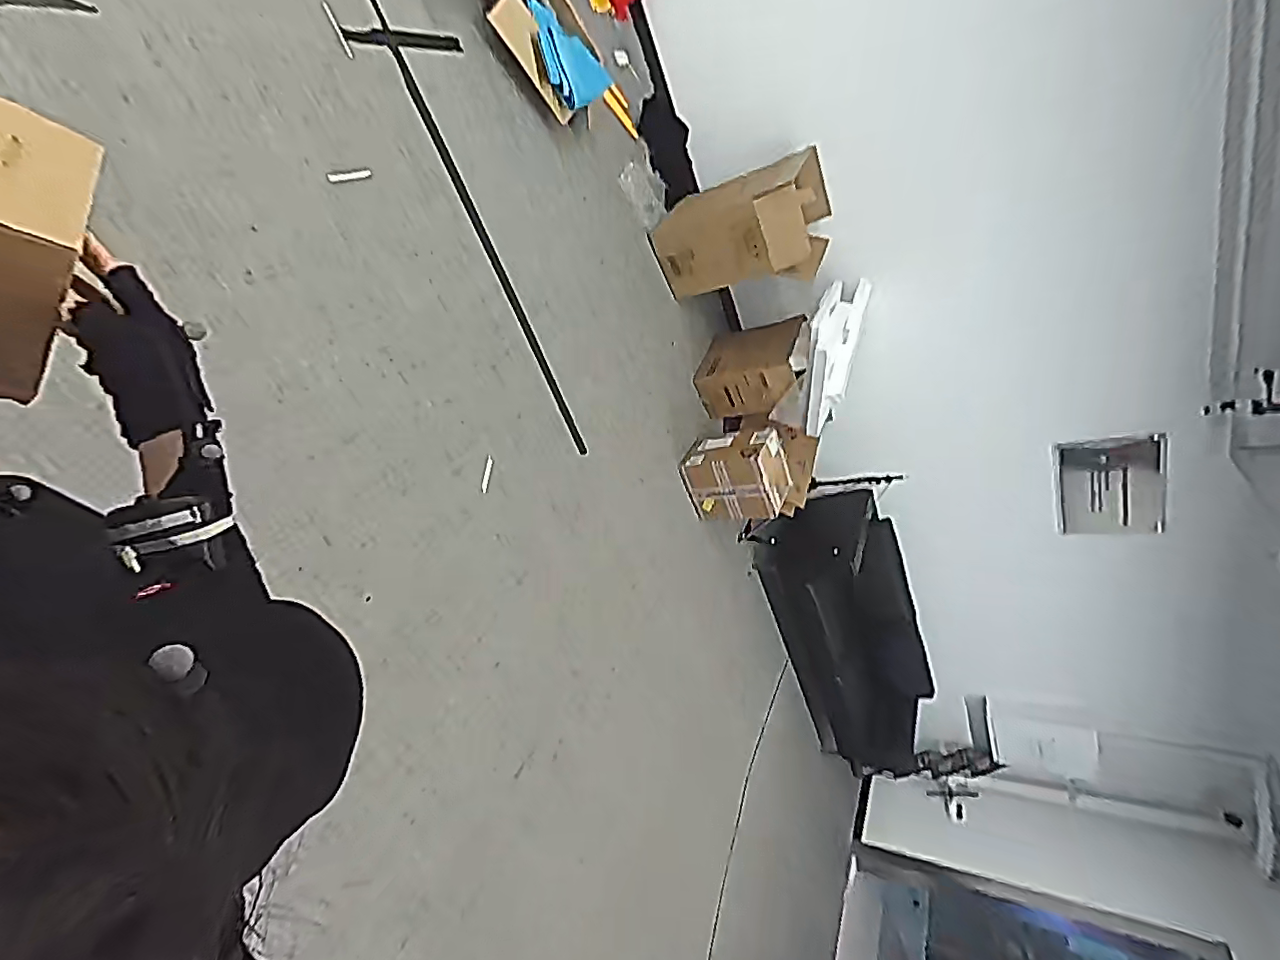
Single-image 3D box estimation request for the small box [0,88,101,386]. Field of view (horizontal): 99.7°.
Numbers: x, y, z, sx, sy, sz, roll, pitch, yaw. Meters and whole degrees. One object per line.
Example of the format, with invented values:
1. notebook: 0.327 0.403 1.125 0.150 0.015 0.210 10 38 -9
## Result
1. small box: -0.537 -0.194 0.388 0.179 0.176 0.168 16 40 -50
